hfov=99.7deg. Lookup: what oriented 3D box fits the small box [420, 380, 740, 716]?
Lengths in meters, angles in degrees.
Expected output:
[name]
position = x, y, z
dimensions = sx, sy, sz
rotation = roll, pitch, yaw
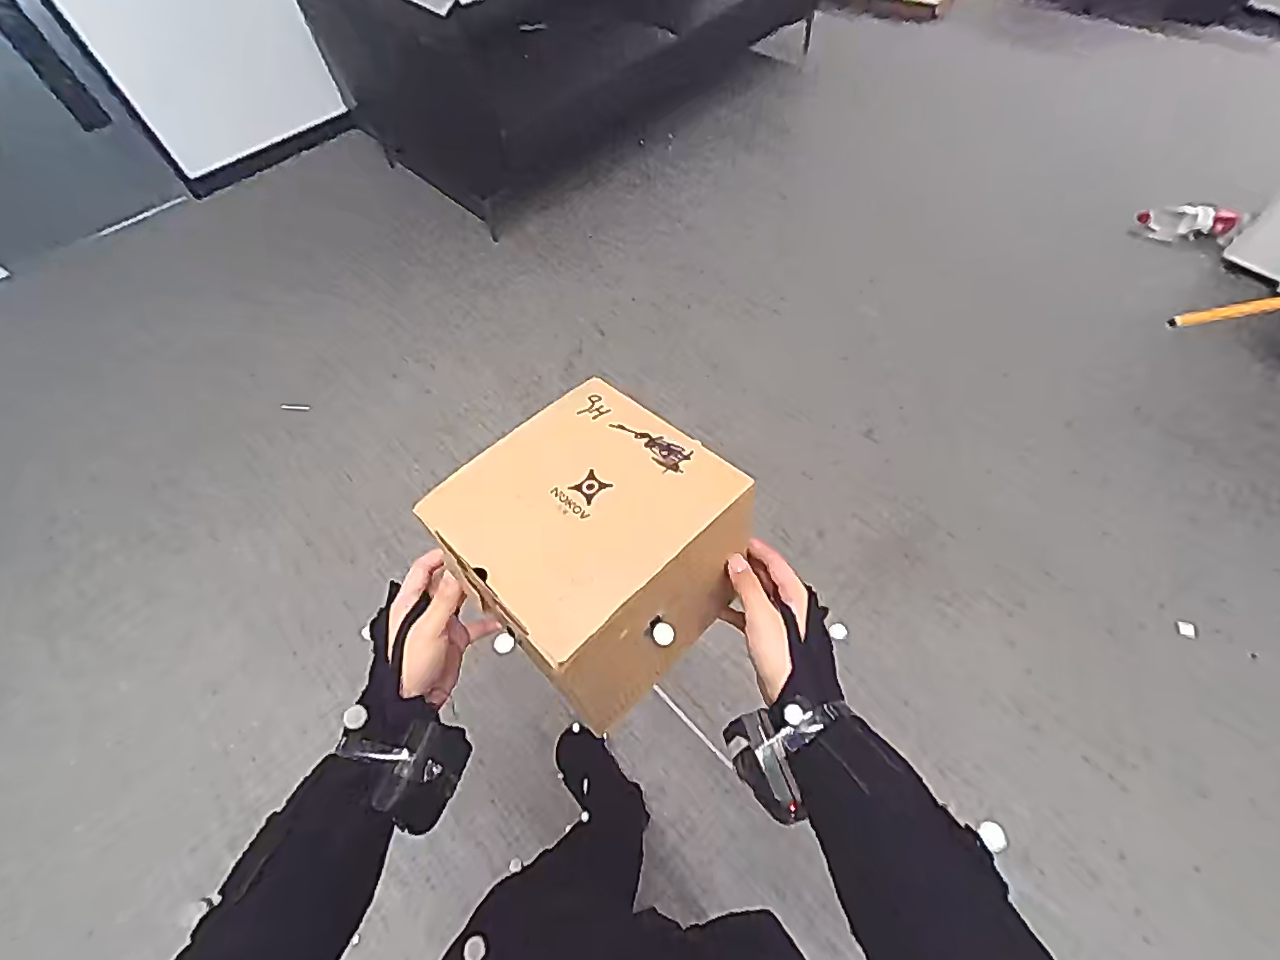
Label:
[small box]
position = -0.035, 0.059, 0.443
dimensions = 0.168, 0.176, 0.179
rotation = 36, 65, 29
